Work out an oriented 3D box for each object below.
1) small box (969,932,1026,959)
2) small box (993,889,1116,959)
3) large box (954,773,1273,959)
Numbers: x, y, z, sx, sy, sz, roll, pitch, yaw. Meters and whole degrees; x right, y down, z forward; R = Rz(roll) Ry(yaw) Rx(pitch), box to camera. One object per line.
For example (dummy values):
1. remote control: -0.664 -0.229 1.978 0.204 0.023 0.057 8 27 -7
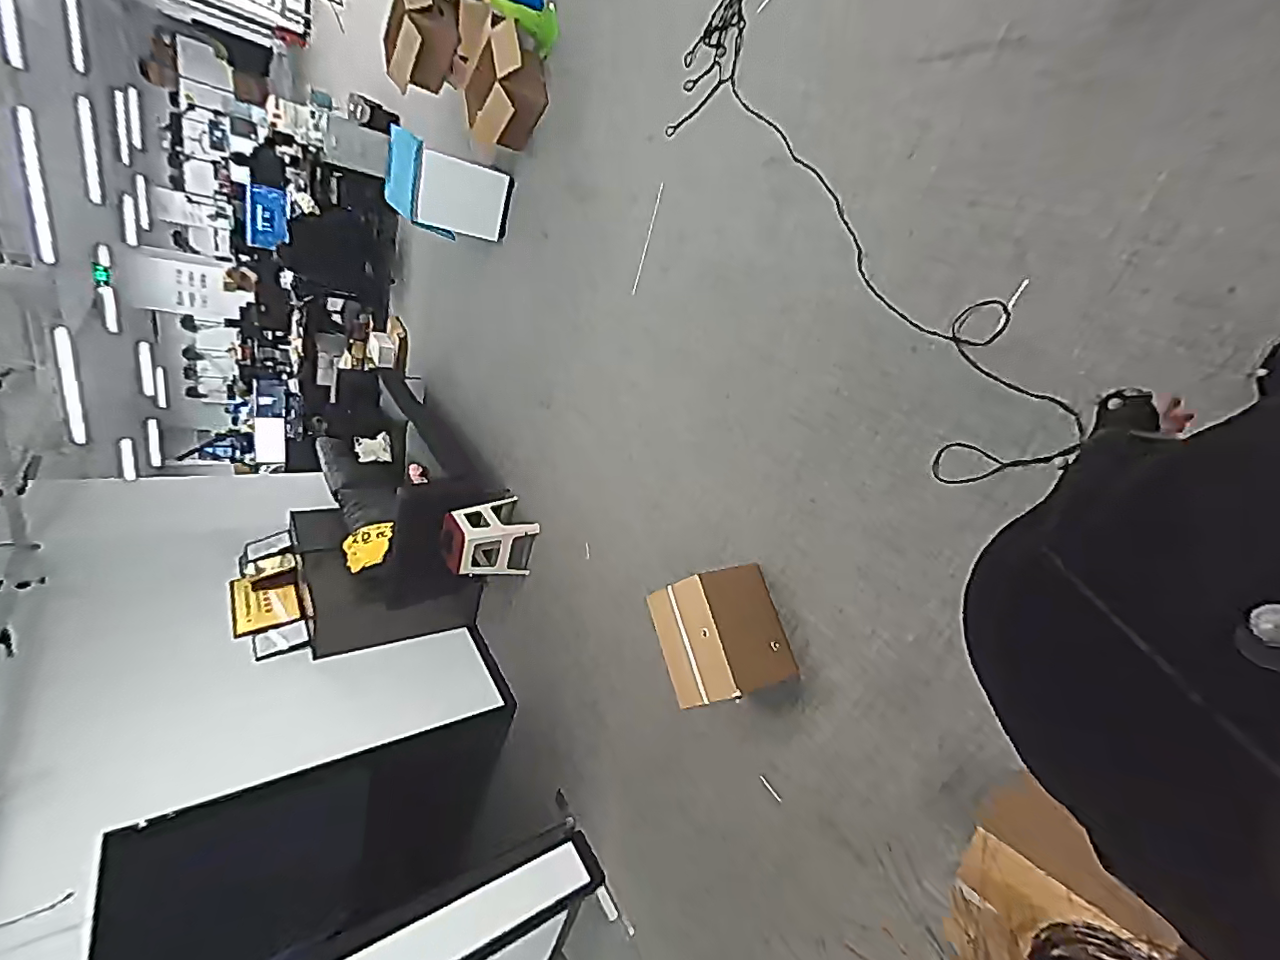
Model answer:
1. small box: 0.615 0.929 0.911 0.168 0.176 0.179 33 117 47
2. small box: 0.751 0.922 1.001 0.179 0.176 0.168 31 115 48
3. large box: 0.962 0.919 1.129 0.408 0.320 0.320 25 113 48
